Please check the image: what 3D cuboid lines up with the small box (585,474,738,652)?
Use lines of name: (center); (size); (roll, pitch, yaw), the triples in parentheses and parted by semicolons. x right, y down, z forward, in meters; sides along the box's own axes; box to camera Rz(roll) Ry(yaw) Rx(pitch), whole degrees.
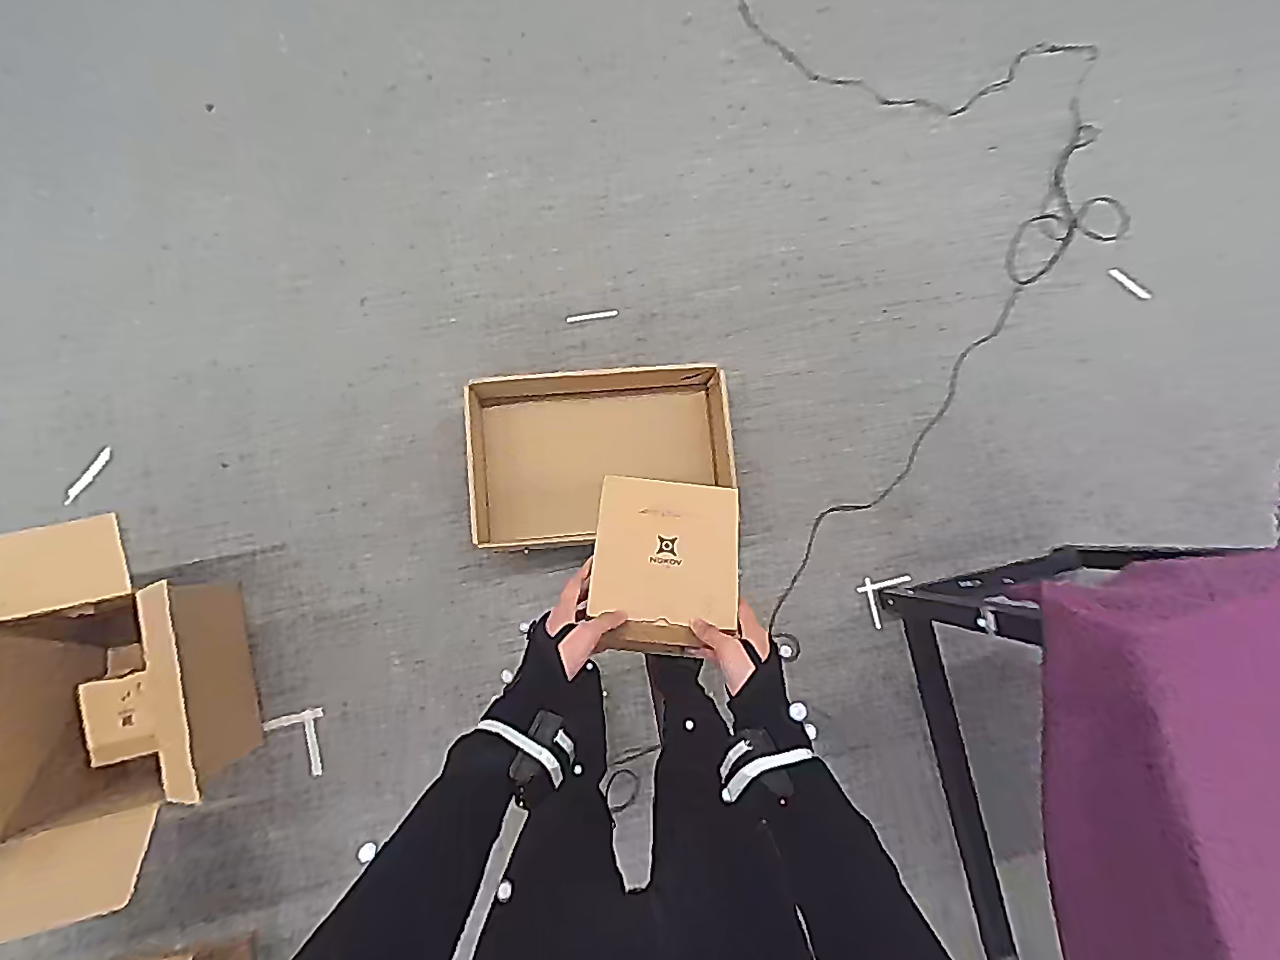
small box: (0.025, 0.114, 0.688); (0.168, 0.176, 0.179); (6, 62, -2)
